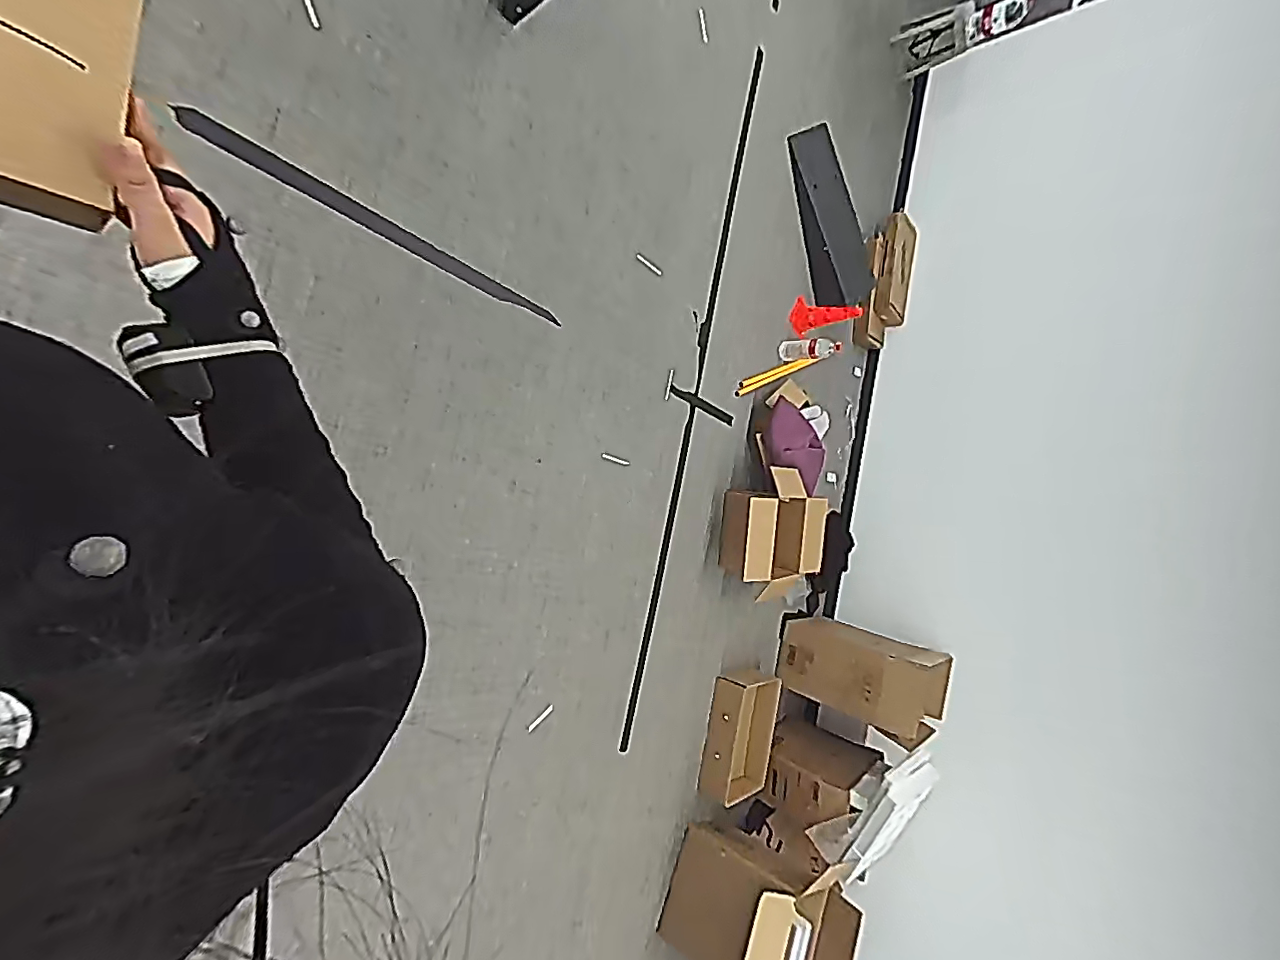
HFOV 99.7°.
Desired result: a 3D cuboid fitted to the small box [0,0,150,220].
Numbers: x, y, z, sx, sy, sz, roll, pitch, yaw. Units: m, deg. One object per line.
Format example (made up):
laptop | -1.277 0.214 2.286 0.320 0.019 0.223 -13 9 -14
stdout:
small box | -0.447 -0.285 0.345 0.179 0.176 0.168 8 97 -49
